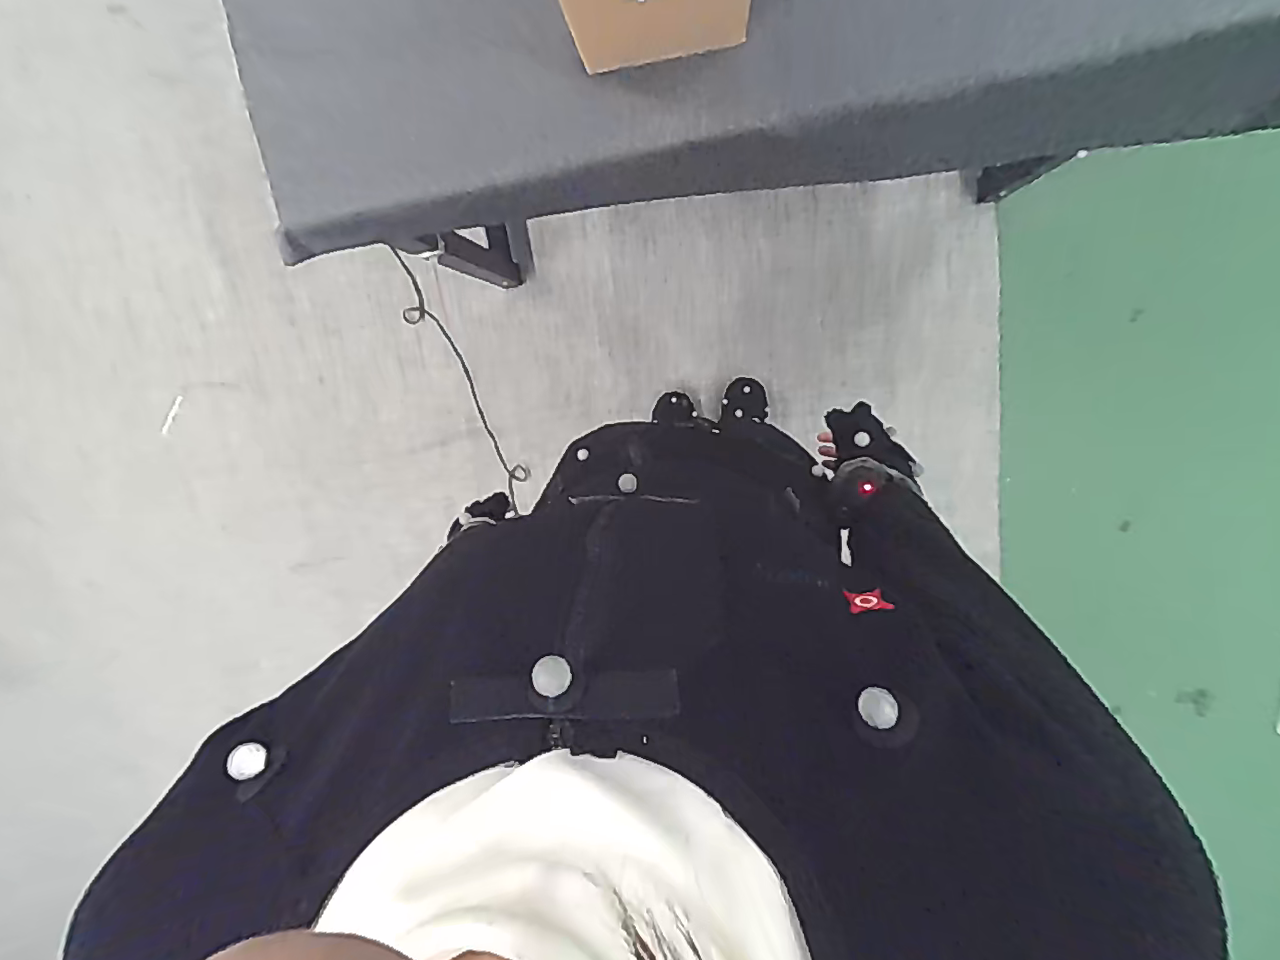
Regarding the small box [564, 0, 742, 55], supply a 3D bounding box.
[{"bbox_3d":[0.005,-0.531,0.492,0.179,0.176,0.168,-4,102,8],"label":"small box"}]
